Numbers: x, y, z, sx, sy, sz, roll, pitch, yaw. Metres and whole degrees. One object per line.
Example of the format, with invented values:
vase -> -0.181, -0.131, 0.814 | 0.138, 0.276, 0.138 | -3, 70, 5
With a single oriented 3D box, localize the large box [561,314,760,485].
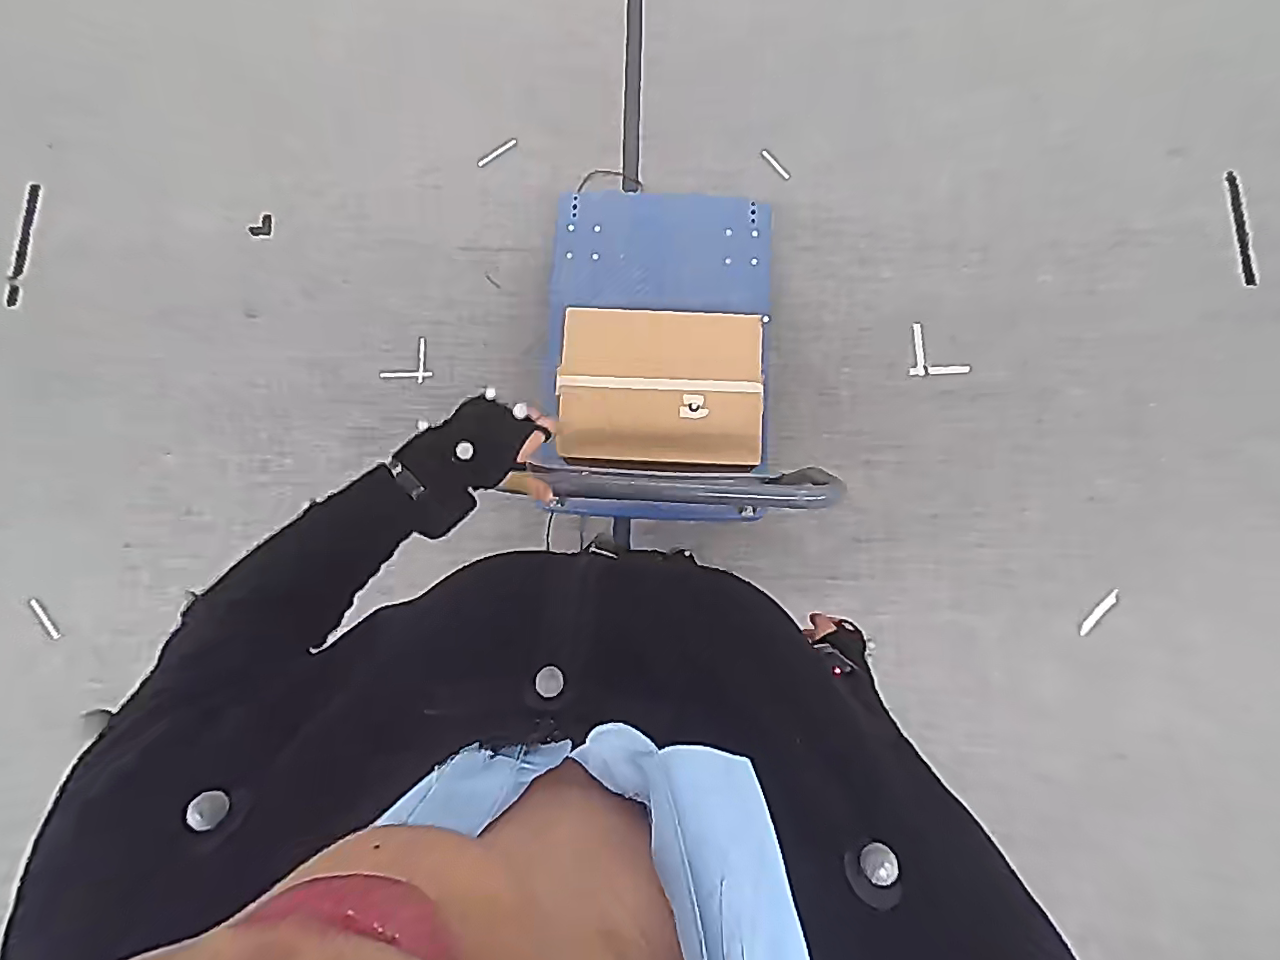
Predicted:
large box -> 0.042, -0.164, 1.240 | 0.408, 0.320, 0.320 | 3, 83, 0
